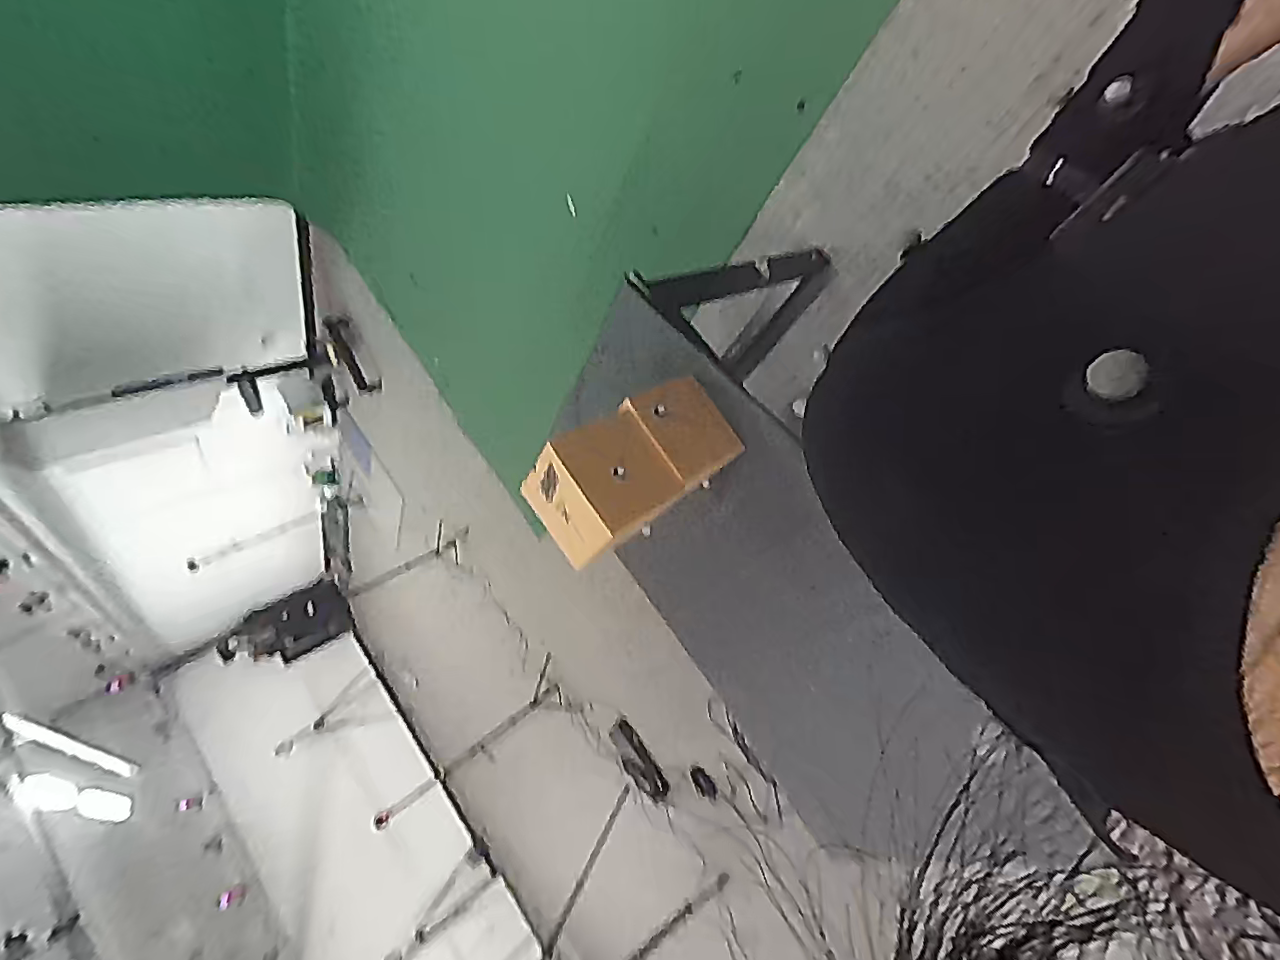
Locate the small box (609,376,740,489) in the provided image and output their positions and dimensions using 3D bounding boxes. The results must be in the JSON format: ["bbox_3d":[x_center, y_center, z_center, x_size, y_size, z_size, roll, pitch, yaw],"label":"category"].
[{"bbox_3d":[0.044,-0.070,0.982,0.179,0.176,0.168,55,142,7],"label":"small box"}]

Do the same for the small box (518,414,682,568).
[{"bbox_3d":[-0.066,0.010,0.888,0.179,0.176,0.168,53,142,7],"label":"small box"}]
